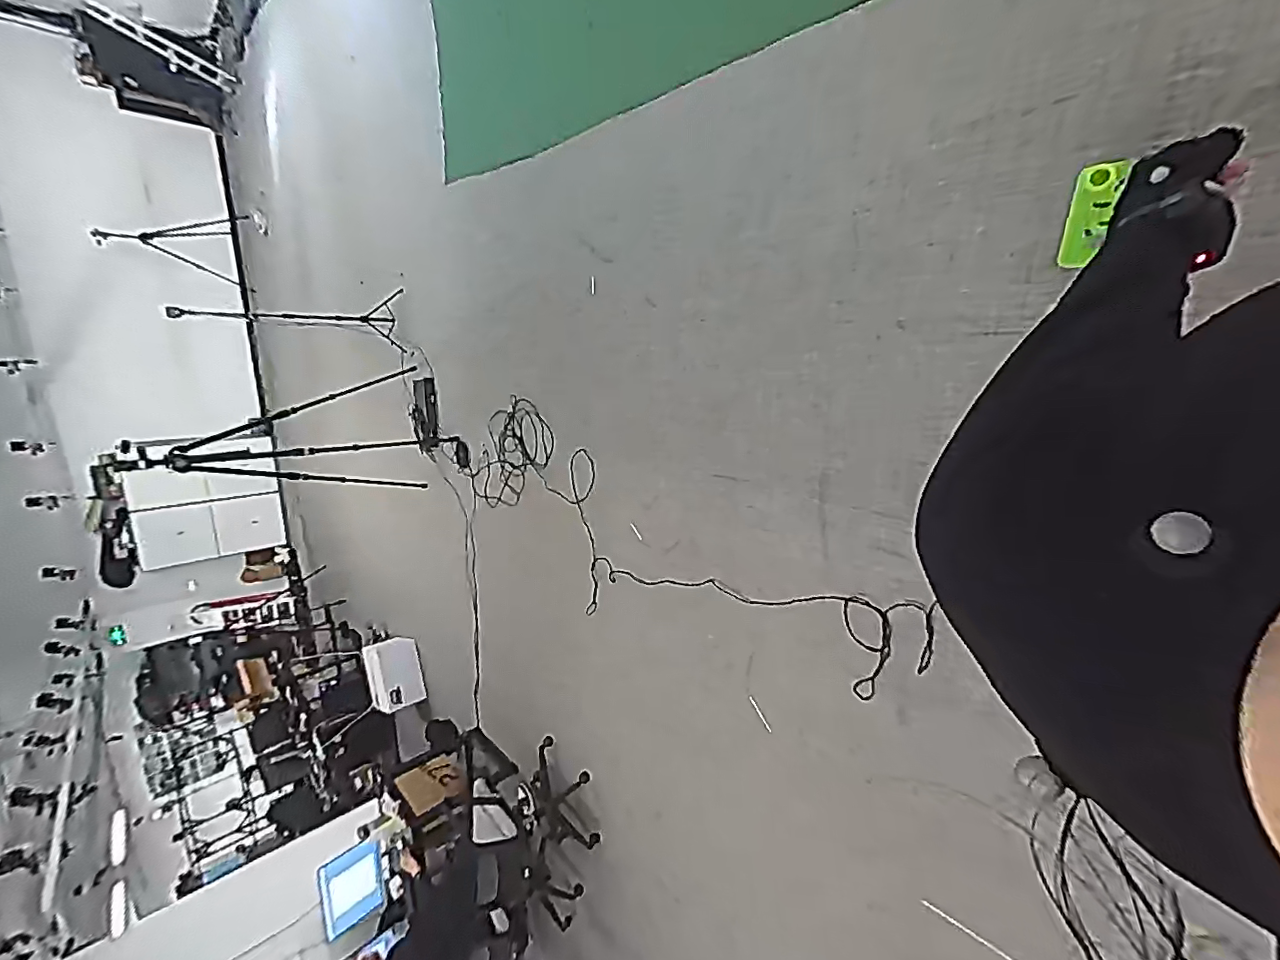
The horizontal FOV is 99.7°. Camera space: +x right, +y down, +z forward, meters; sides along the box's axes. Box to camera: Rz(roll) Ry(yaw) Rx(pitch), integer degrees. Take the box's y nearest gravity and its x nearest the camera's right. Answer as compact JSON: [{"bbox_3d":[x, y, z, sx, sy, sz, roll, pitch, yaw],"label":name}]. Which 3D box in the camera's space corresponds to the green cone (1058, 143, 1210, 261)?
[{"bbox_3d":[0.855,-0.521,0.975,0.200,0.368,0.202,19,114,45],"label":"green cone"}]
